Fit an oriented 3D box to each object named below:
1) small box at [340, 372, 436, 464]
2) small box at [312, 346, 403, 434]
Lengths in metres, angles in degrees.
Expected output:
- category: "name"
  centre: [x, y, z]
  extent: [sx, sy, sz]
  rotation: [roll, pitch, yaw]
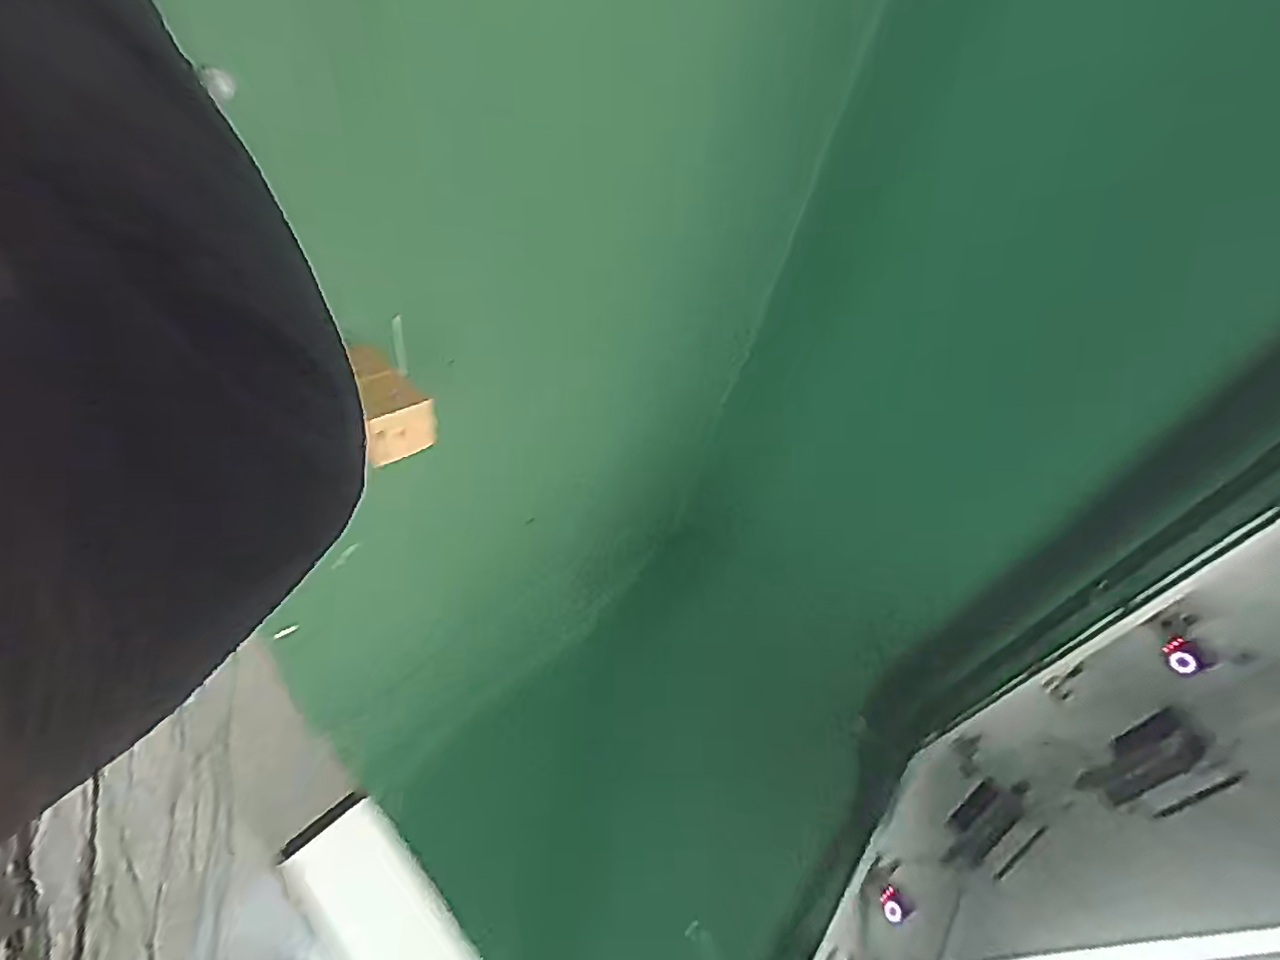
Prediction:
- category: "small box"
  centre: [-0.696, -0.180, 1.504]
  extent: [0.179, 0.176, 0.168]
  rotation: [-34, 151, -39]
- category: "small box"
  centre: [-0.803, -0.264, 1.556]
  extent: [0.179, 0.176, 0.168]
  rotation: [-32, 148, -39]
